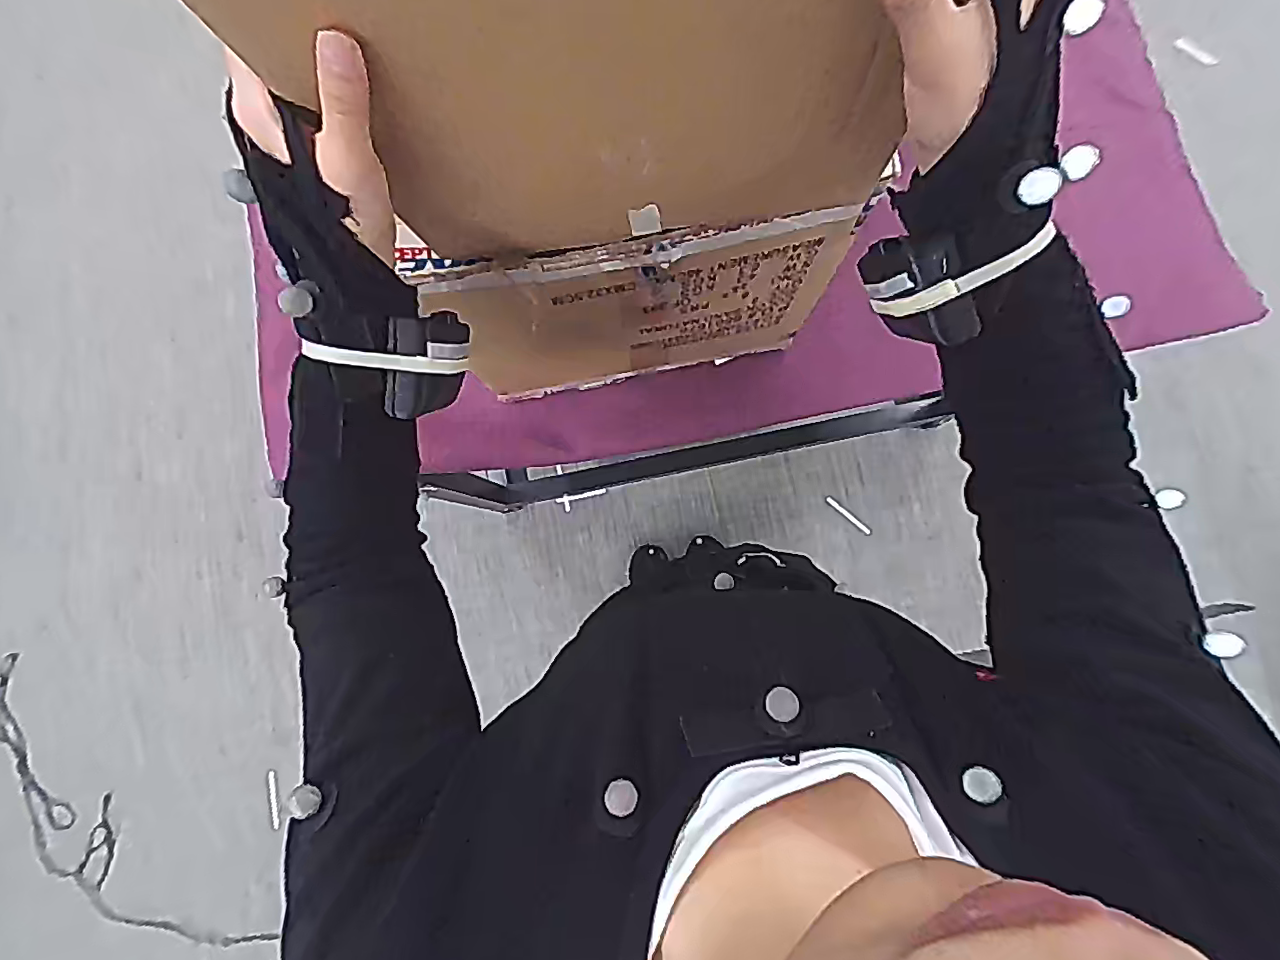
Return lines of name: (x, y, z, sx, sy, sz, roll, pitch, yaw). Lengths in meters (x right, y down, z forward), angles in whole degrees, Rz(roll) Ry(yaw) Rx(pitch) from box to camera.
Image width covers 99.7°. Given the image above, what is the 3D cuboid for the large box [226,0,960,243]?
large box: (-0.028, -0.391, 0.248, 0.320, 0.320, 0.408, -6, 87, 7)
